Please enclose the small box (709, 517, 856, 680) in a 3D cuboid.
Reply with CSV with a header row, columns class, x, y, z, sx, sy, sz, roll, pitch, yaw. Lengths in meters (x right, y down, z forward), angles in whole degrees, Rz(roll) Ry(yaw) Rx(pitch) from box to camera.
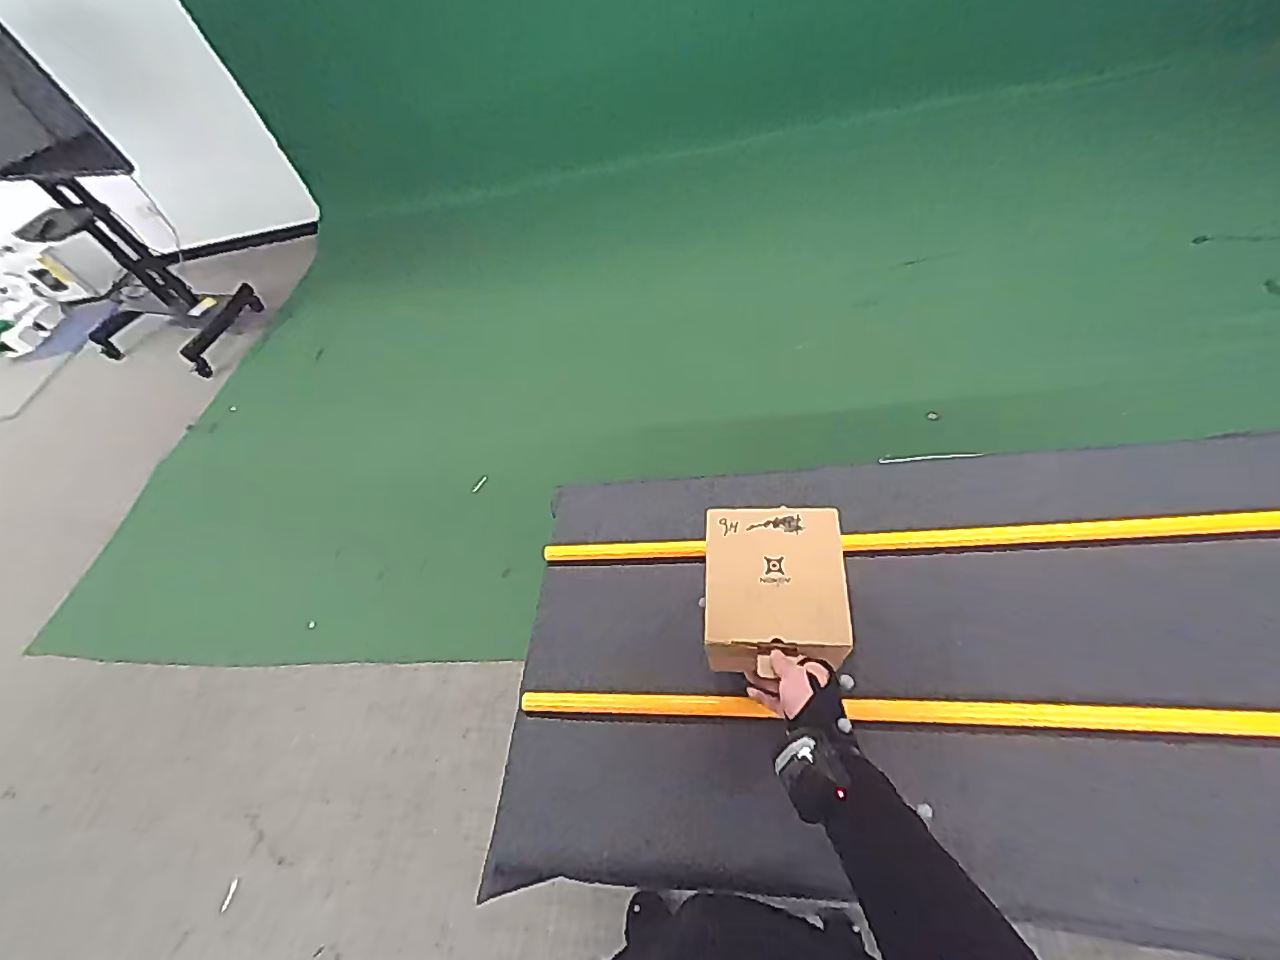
class,x,y,z,sx,sy,sz,roll,pitch,yaw
small box,0.184,0.166,0.727,0.168,0.176,0.179,-4,59,11
